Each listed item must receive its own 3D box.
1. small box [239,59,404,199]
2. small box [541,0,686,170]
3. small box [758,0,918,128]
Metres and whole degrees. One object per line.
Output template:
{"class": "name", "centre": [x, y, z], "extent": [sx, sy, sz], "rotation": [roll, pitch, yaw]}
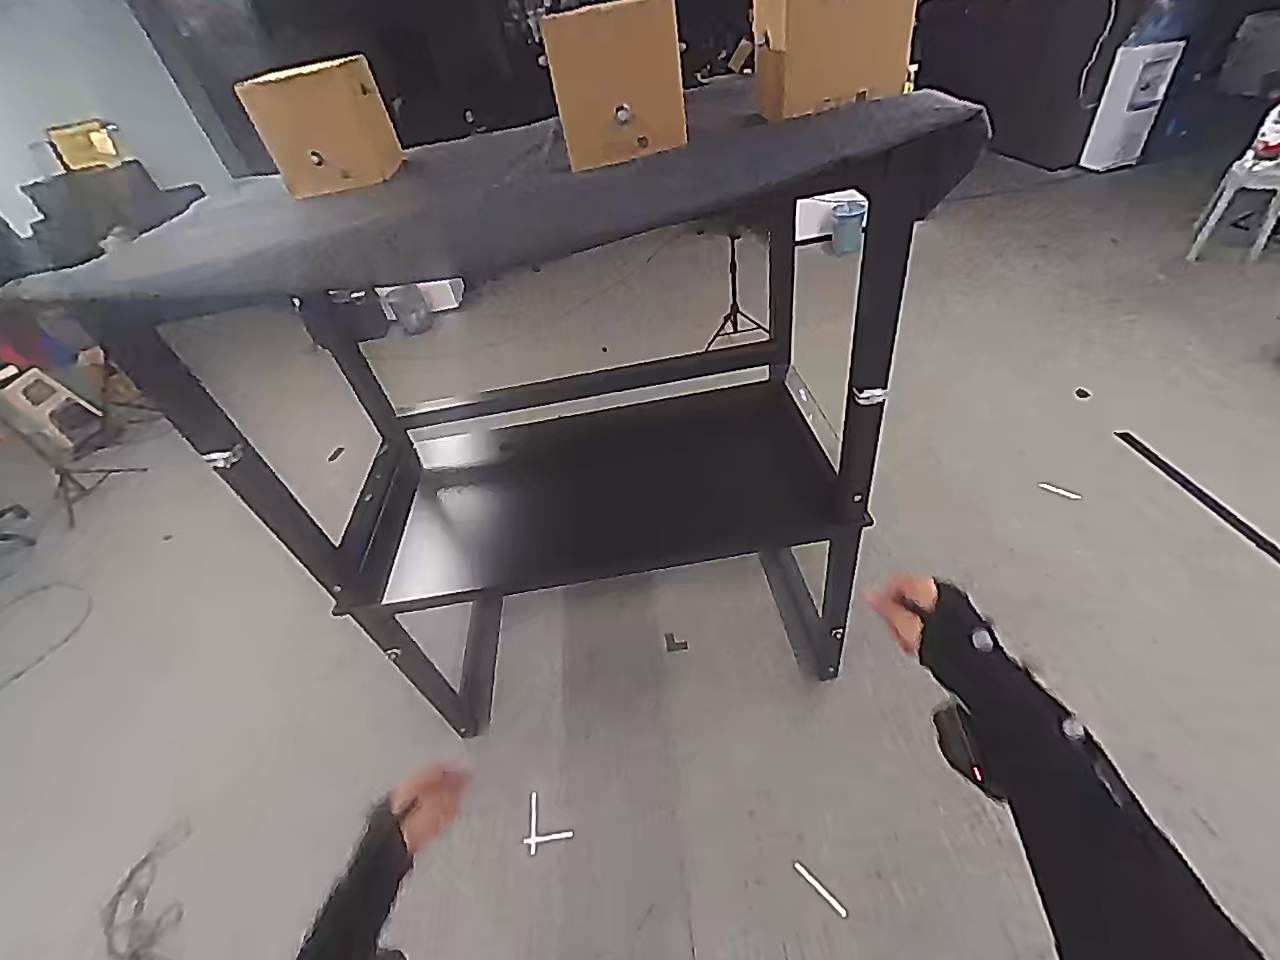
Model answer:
{"class": "small box", "centre": [-0.538, -0.613, 0.947], "extent": [0.168, 0.176, 0.179], "rotation": [-11, 43, 1]}
{"class": "small box", "centre": [-0.034, -0.554, 0.761], "extent": [0.168, 0.176, 0.179], "rotation": [-11, 41, 2]}
{"class": "small box", "centre": [0.261, -0.608, 0.751], "extent": [0.168, 0.176, 0.179], "rotation": [-10, 41, 4]}
